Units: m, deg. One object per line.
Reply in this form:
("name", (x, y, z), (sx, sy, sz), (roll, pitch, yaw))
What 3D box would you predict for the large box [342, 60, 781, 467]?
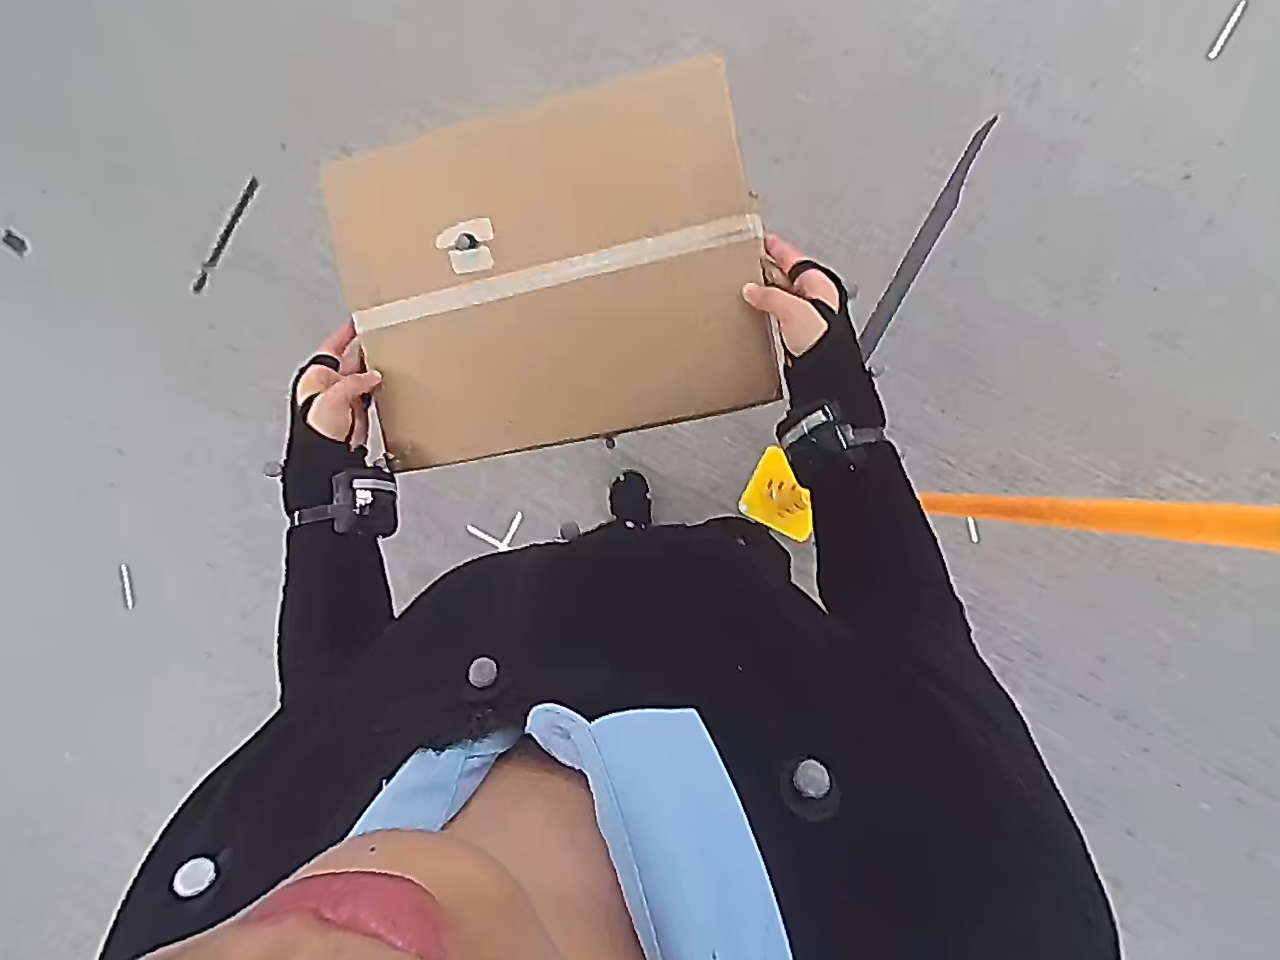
("large box", (-0.064, -0.215, 0.679), (0.408, 0.320, 0.320), (-10, 94, 9))
